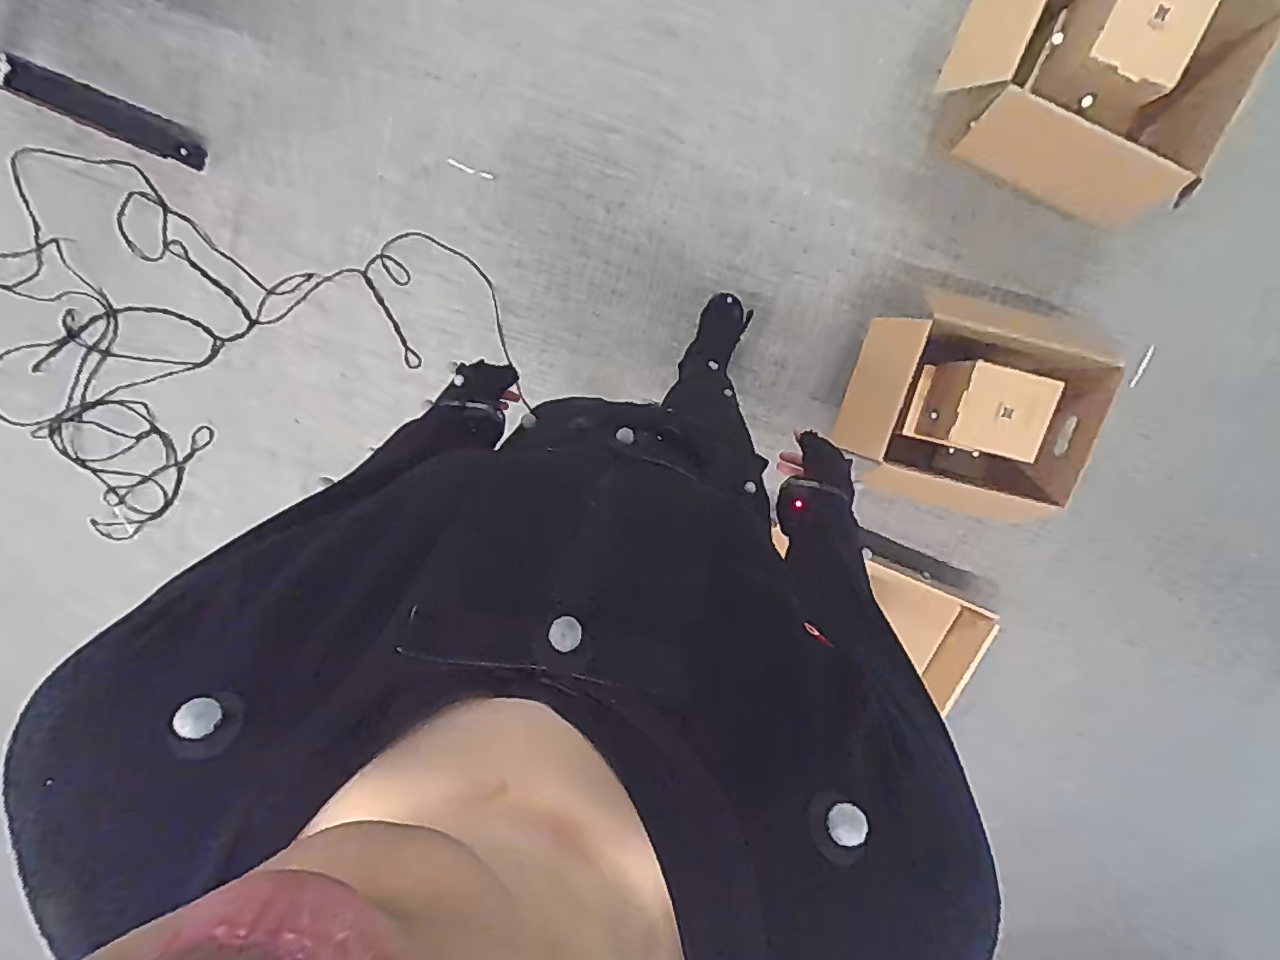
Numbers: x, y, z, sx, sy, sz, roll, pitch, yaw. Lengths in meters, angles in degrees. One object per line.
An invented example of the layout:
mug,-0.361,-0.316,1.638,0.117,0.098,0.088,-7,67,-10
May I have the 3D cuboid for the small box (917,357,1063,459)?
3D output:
small box,0.719,-0.153,1.136,0.179,0.176,0.168,15,102,1
